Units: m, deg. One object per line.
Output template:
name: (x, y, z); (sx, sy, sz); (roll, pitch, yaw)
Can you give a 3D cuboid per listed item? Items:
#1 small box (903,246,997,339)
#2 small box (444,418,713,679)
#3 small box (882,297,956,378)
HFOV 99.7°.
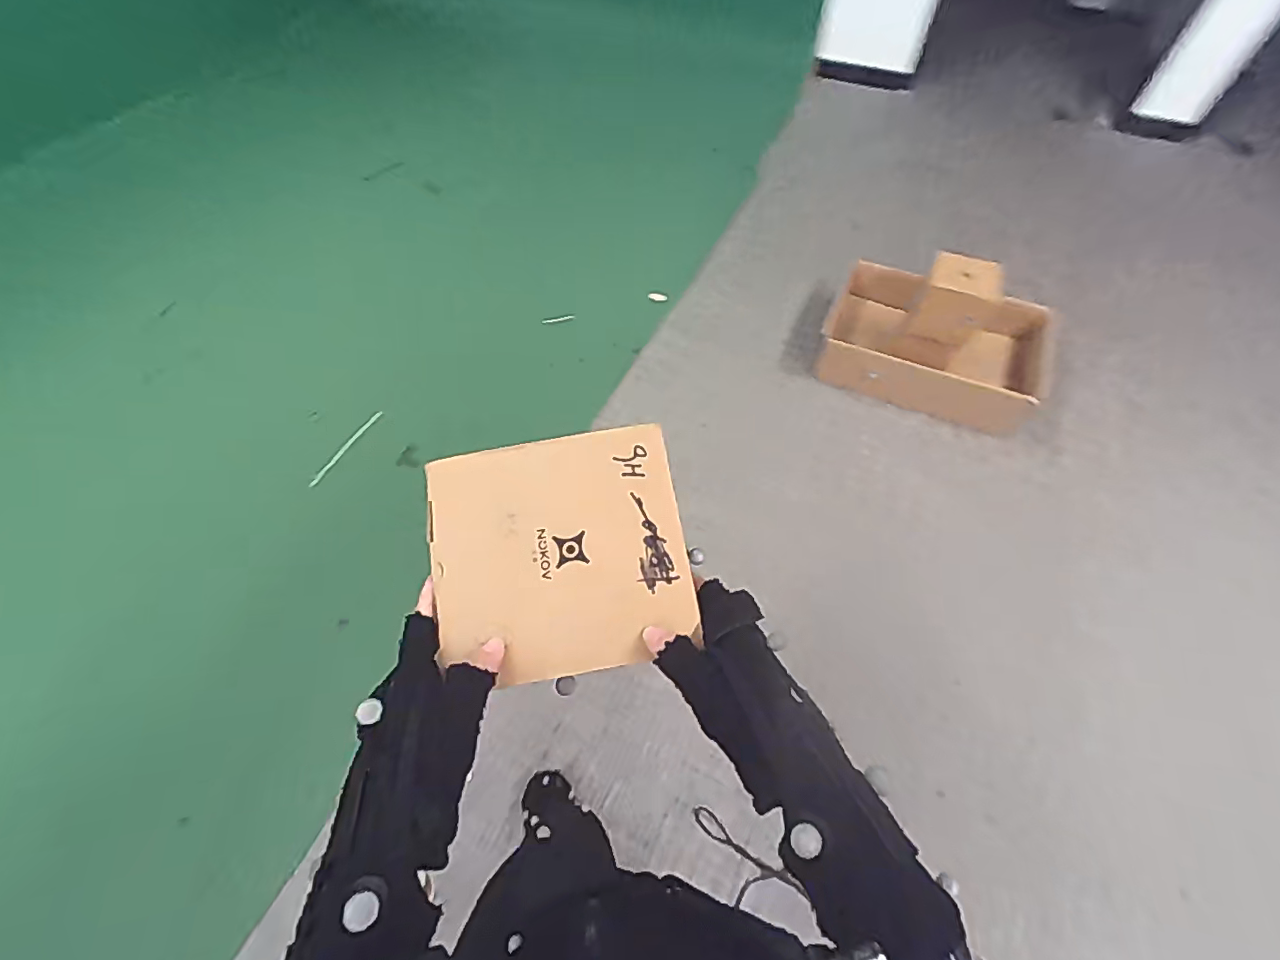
small box: (0.875, -0.525, 1.532); (0.179, 0.176, 0.168); (16, 60, 9)
small box: (-0.047, 0.070, 0.461); (0.179, 0.176, 0.168); (-11, 70, -3)
small box: (0.880, -0.450, 1.695); (0.168, 0.176, 0.179); (21, 62, 13)
